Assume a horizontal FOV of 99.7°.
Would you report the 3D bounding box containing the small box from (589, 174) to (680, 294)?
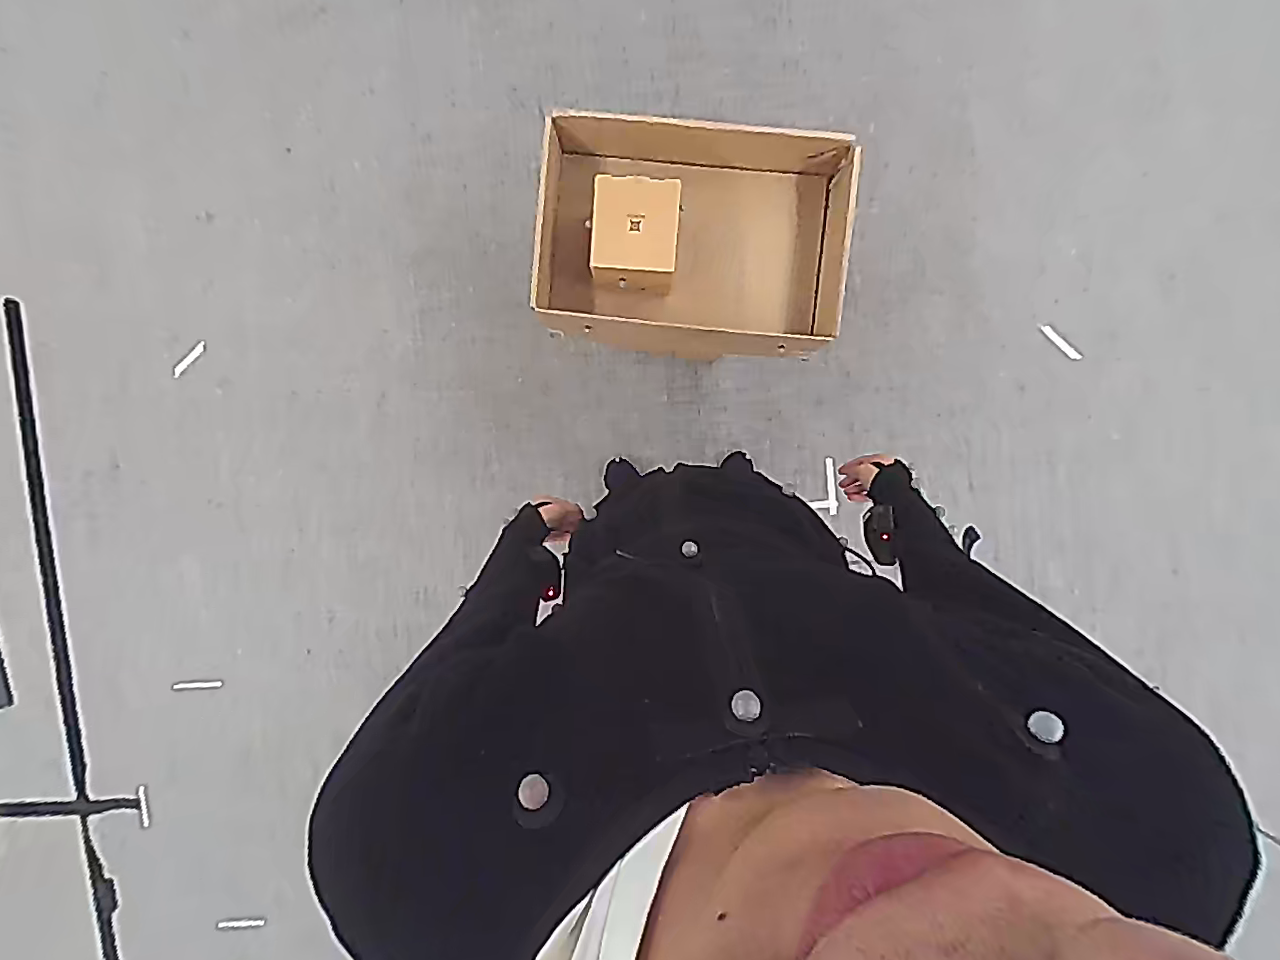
[{"bbox_3d":[-0.009,-0.491,1.104,0.168,0.176,0.179,4,93,0],"label":"small box"}]
